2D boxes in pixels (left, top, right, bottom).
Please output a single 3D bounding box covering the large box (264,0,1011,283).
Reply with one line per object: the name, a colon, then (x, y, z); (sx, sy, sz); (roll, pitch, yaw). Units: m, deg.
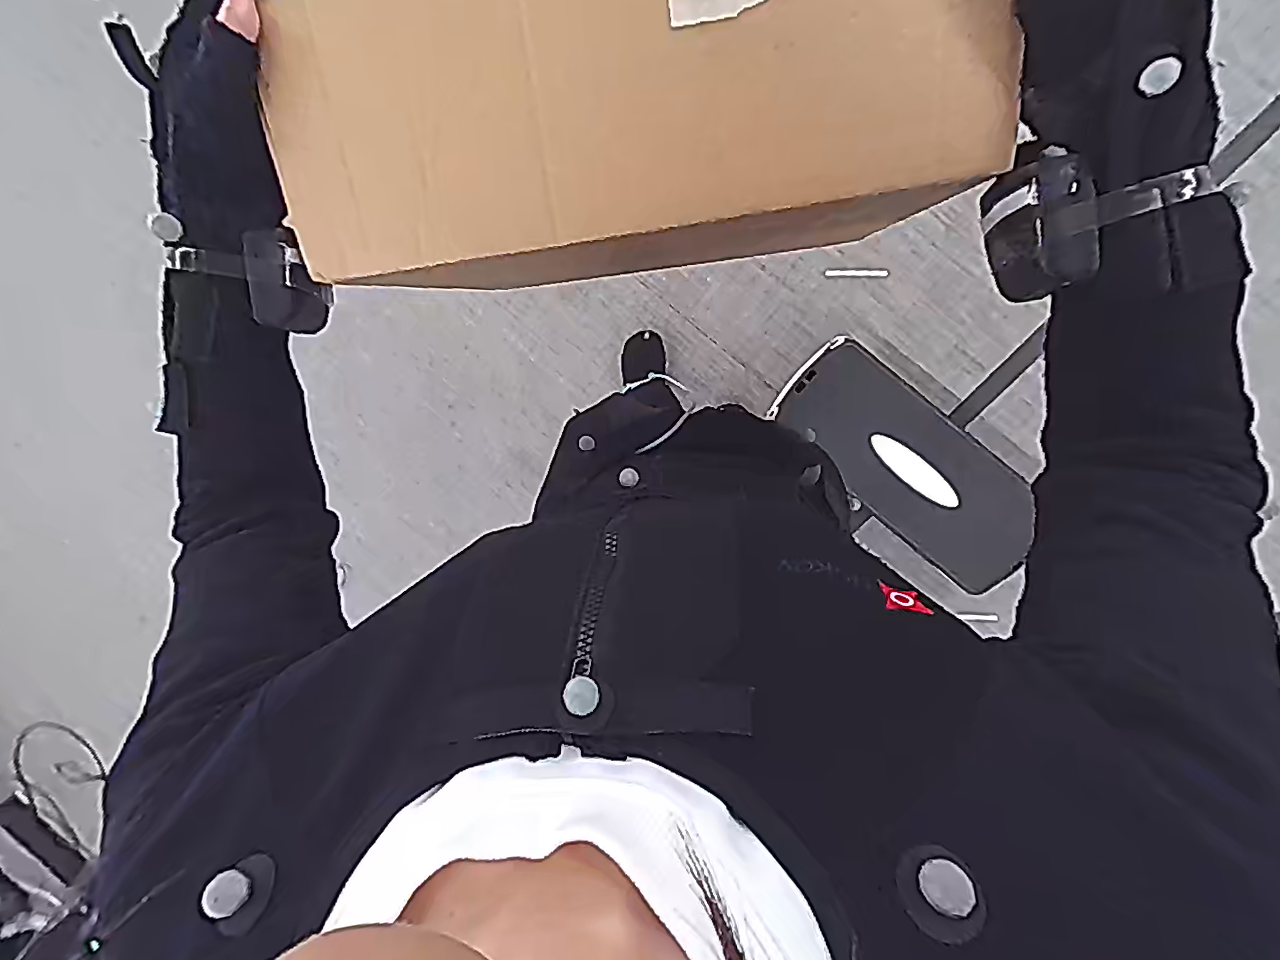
large box: (-0.003, -0.347, 0.415); (0.408, 0.320, 0.320); (-5, 108, 10)
